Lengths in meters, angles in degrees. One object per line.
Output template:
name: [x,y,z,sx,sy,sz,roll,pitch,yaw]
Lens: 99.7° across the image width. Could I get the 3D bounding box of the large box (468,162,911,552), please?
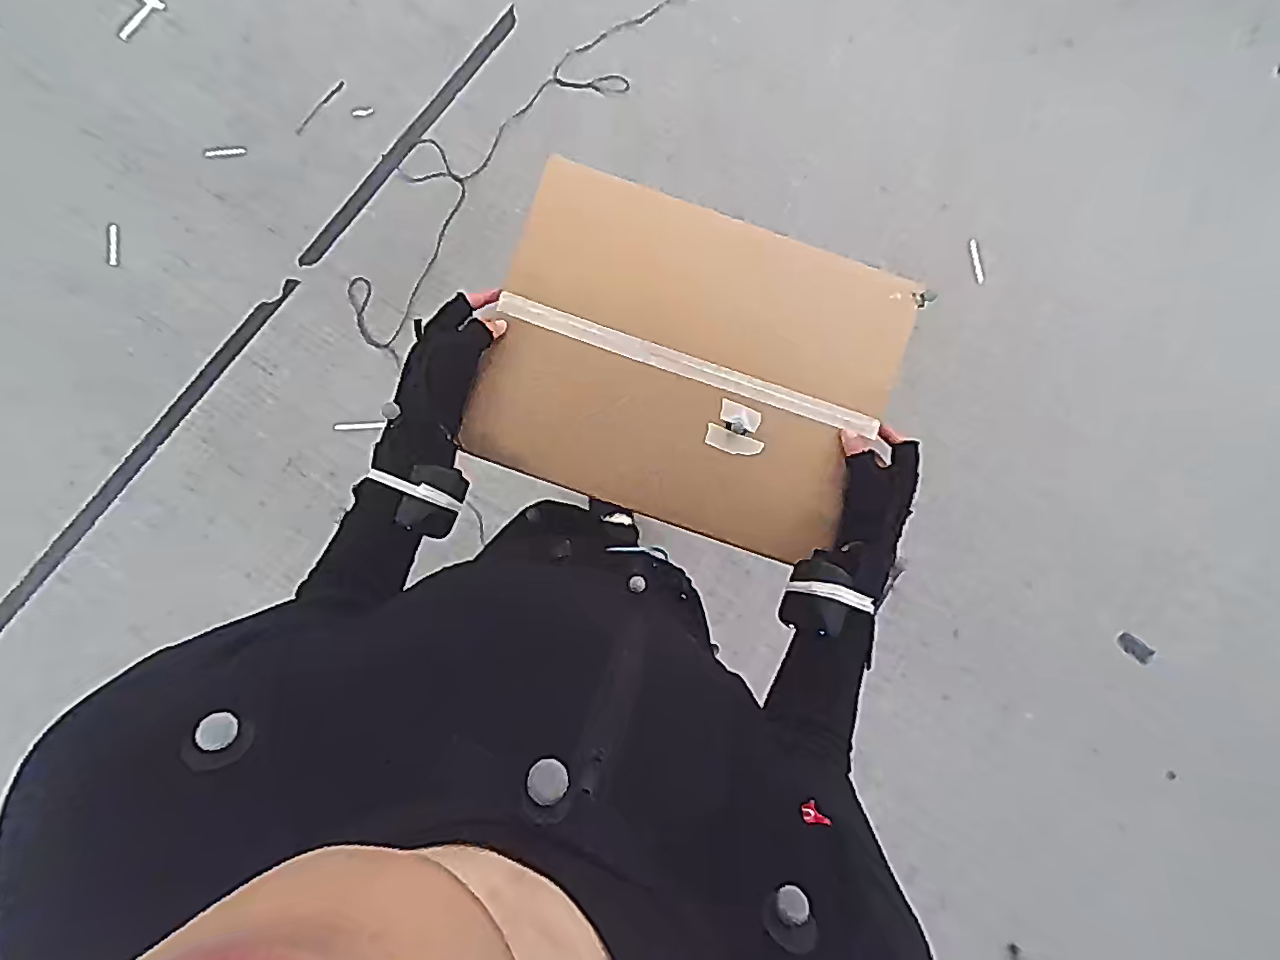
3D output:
large box: [0.048,-0.129,0.715,0.408,0.320,0.320,20,91,-1]
